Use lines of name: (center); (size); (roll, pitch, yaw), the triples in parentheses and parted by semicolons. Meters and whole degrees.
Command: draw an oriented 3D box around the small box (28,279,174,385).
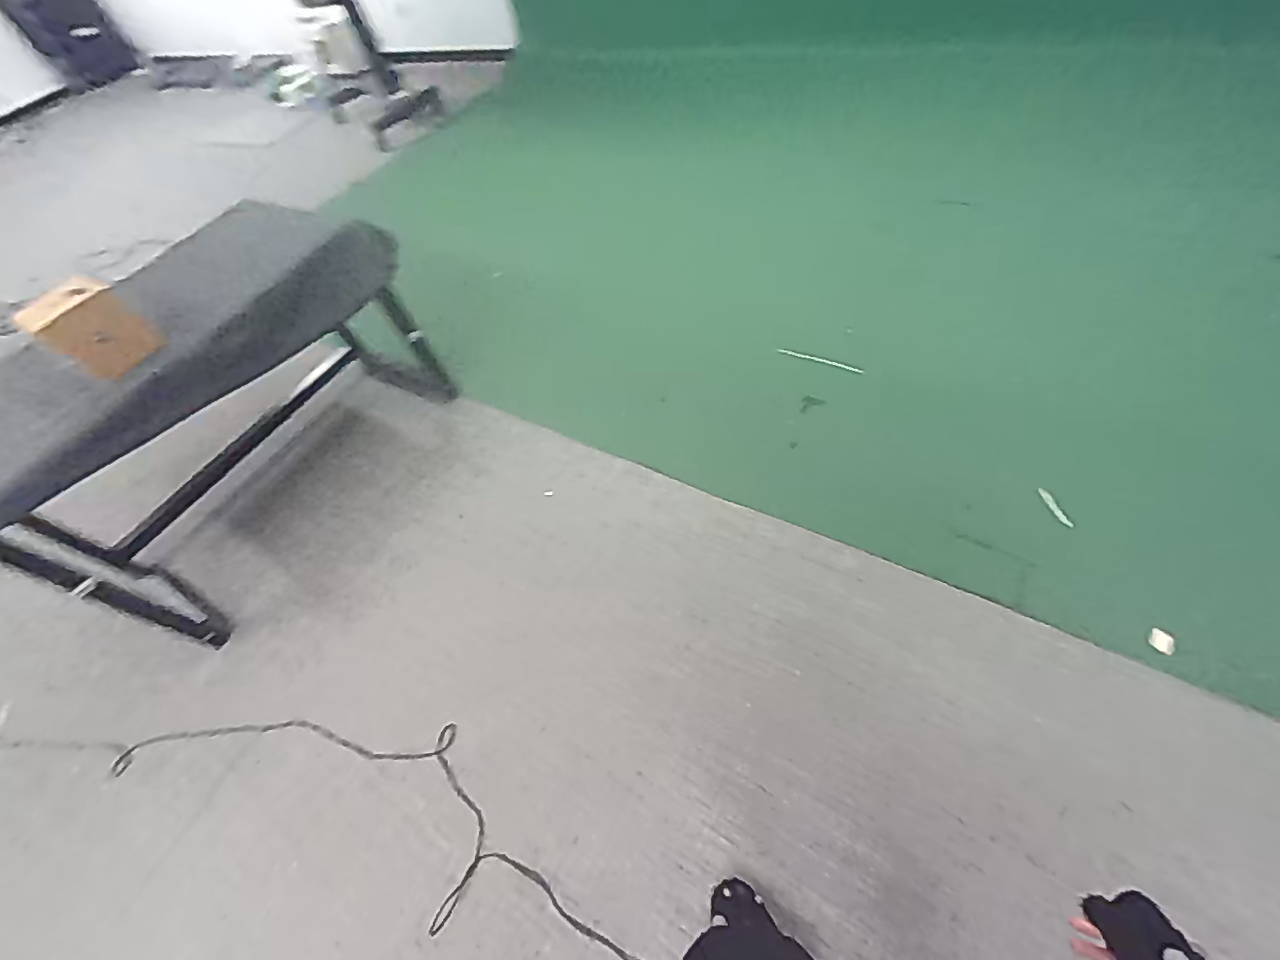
small box: (-1.314, -0.366, 1.338); (0.168, 0.176, 0.179); (19, 61, 25)
